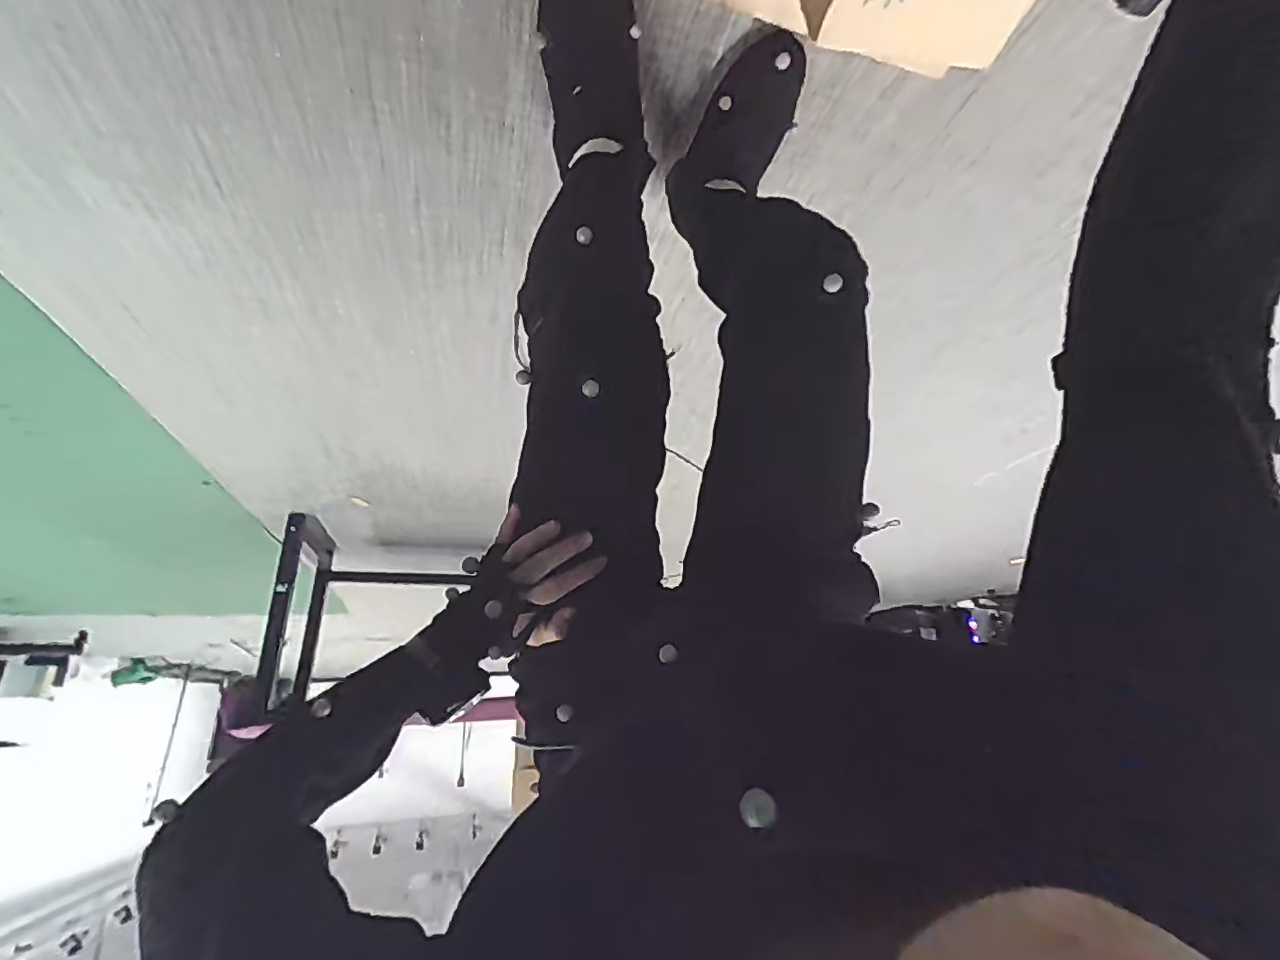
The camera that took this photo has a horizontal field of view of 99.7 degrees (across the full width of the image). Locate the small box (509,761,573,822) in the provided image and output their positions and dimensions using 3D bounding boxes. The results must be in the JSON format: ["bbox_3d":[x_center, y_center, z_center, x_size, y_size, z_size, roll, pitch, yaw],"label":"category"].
[{"bbox_3d":[-0.352,1.106,1.932,0.179,0.176,0.168,-8,158,16],"label":"small box"}]

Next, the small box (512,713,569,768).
[{"bbox_3d":[-0.366,0.959,2.007,0.179,0.176,0.168,-5,158,4],"label":"small box"}]
